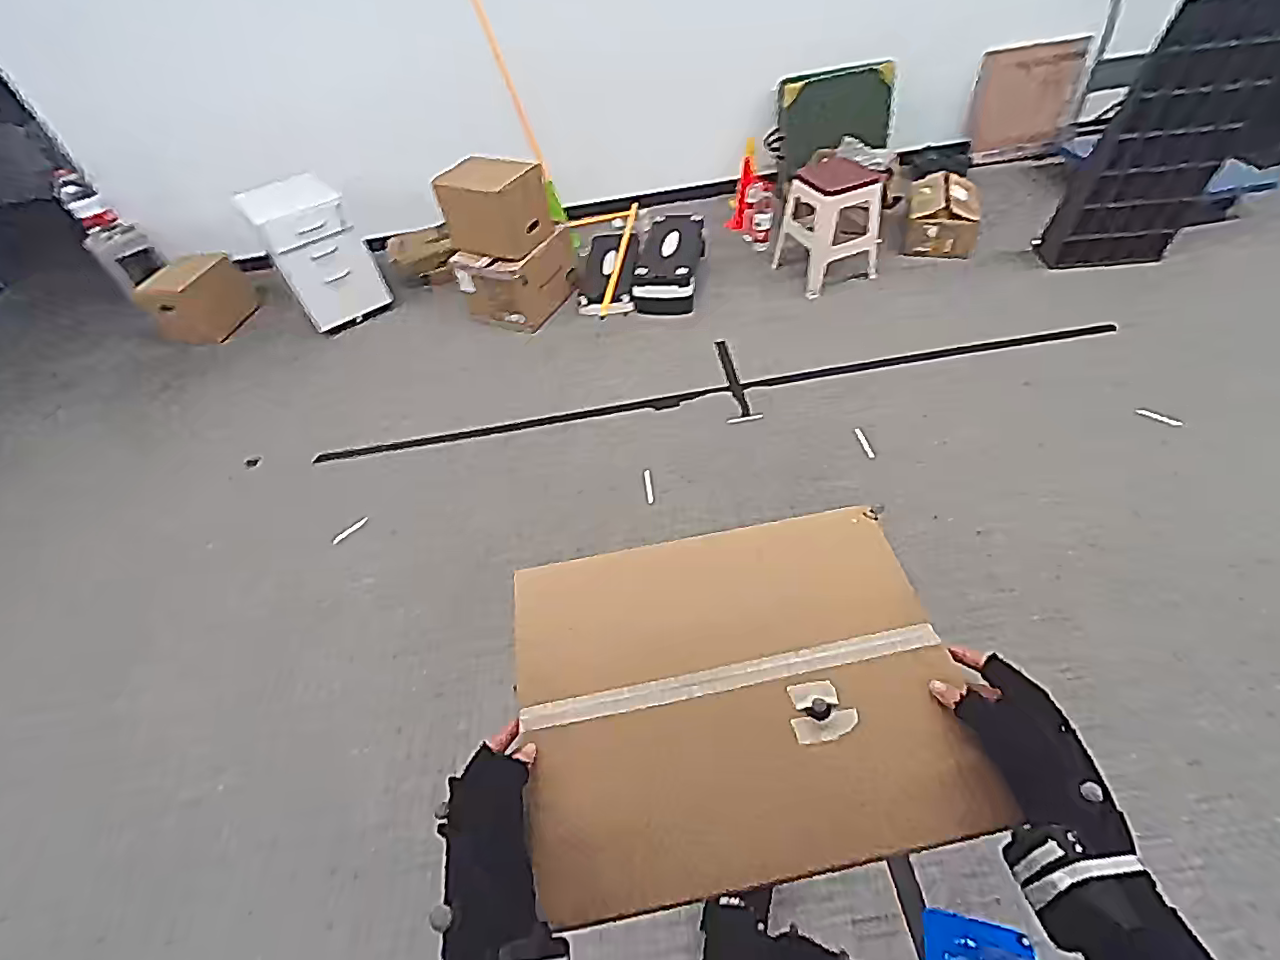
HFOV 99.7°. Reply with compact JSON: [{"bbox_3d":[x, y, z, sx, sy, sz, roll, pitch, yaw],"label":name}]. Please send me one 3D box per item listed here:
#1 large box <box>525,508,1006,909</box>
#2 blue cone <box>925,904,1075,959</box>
[{"bbox_3d":[0.099,0.277,0.649,0.408,0.320,0.320,-10,53,-2],"label":"large box"},{"bbox_3d":[0.641,0.841,0.917,0.193,0.380,0.192,7,50,14],"label":"blue cone"}]
